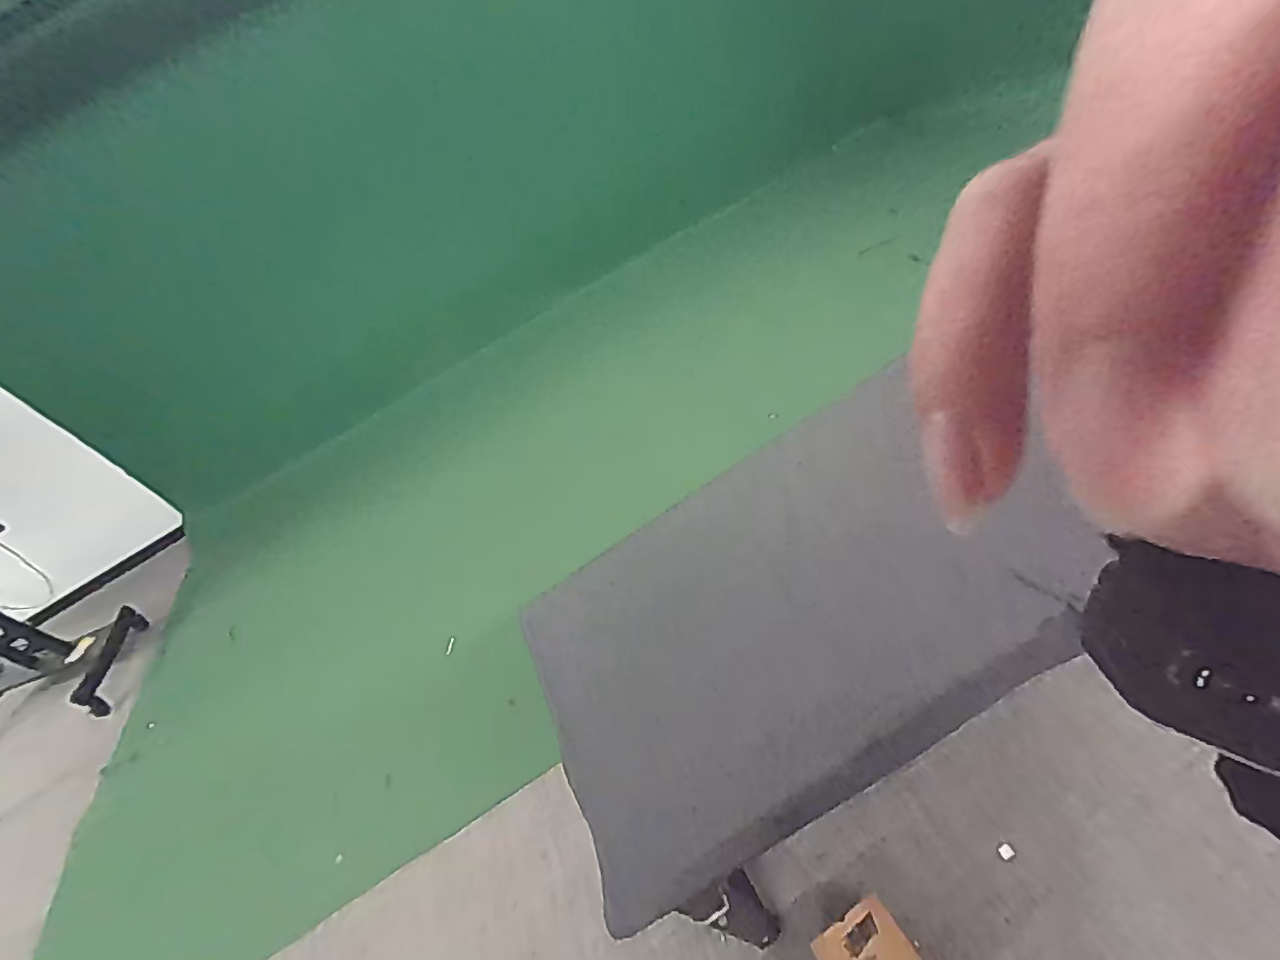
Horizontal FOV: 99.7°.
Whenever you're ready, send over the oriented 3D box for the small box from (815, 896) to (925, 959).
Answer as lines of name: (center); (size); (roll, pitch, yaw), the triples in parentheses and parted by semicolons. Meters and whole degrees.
small box: (0.471, 0.960, 1.046); (0.168, 0.176, 0.179); (-35, 41, -5)
